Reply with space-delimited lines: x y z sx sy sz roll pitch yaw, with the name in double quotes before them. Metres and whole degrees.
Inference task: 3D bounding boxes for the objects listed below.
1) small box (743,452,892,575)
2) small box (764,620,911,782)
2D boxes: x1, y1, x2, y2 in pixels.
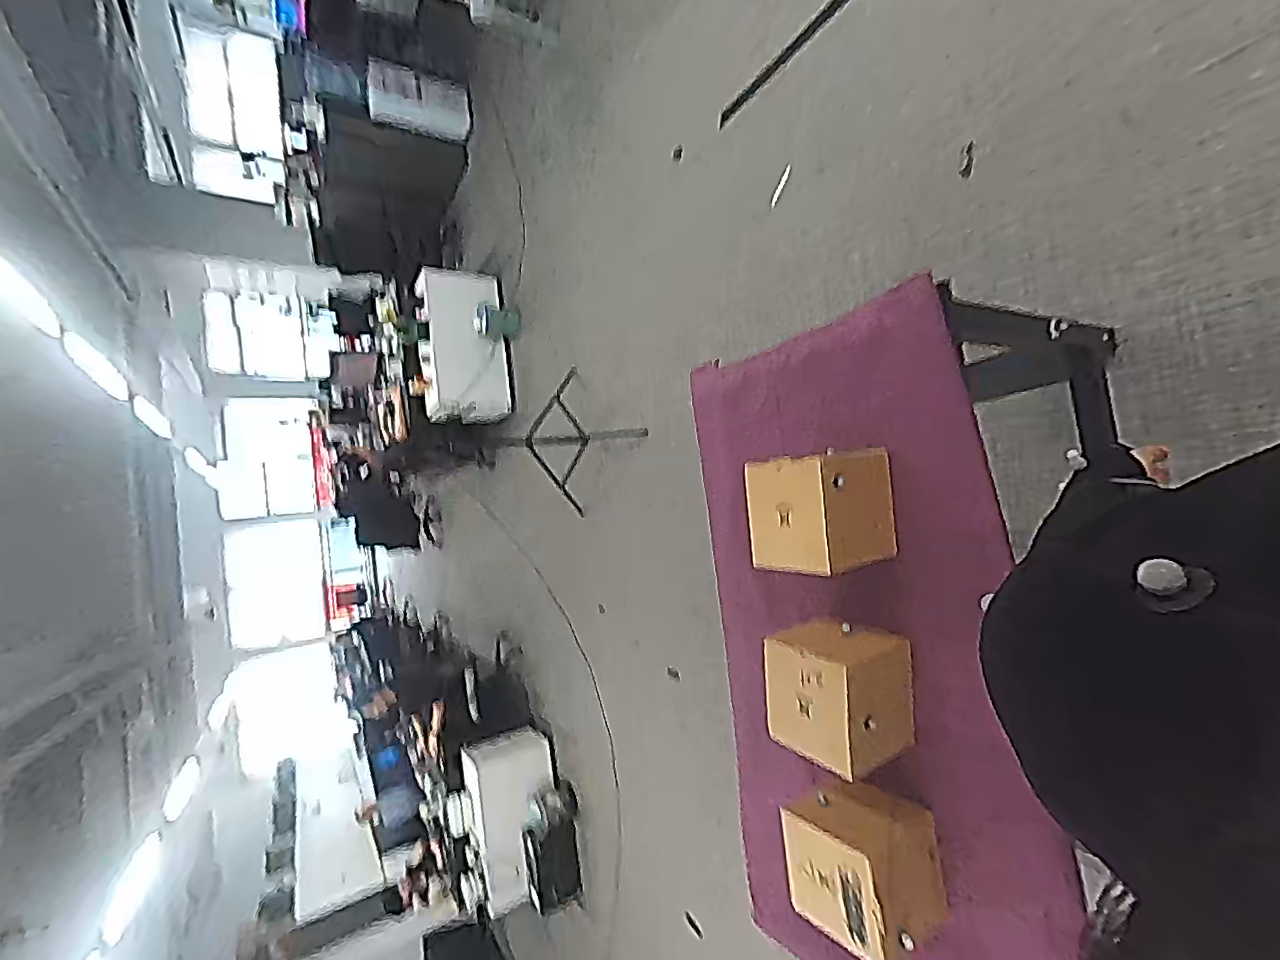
"small box" 0.296 0.051 0.901 0.168 0.176 0.179 -6 89 59
"small box" 0.327 0.349 0.893 0.168 0.176 0.179 1 95 57
